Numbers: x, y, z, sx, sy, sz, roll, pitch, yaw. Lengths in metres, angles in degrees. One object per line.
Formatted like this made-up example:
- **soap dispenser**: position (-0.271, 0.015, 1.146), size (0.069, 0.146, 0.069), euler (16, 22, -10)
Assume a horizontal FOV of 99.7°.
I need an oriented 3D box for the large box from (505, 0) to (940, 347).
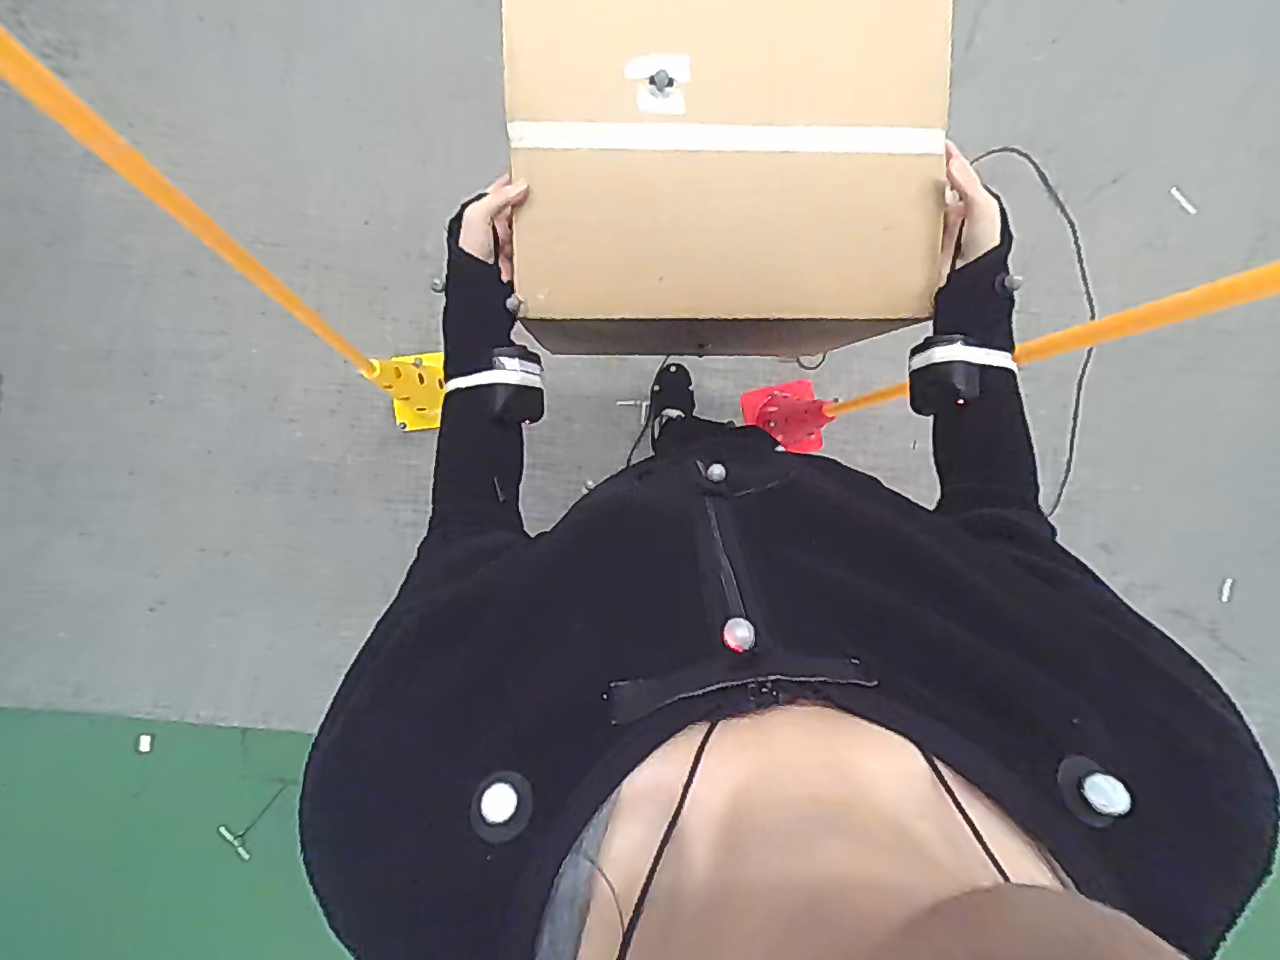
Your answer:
- **large box**: position (0.075, -0.335, 0.650), size (0.408, 0.320, 0.320), euler (-1, 96, -3)
